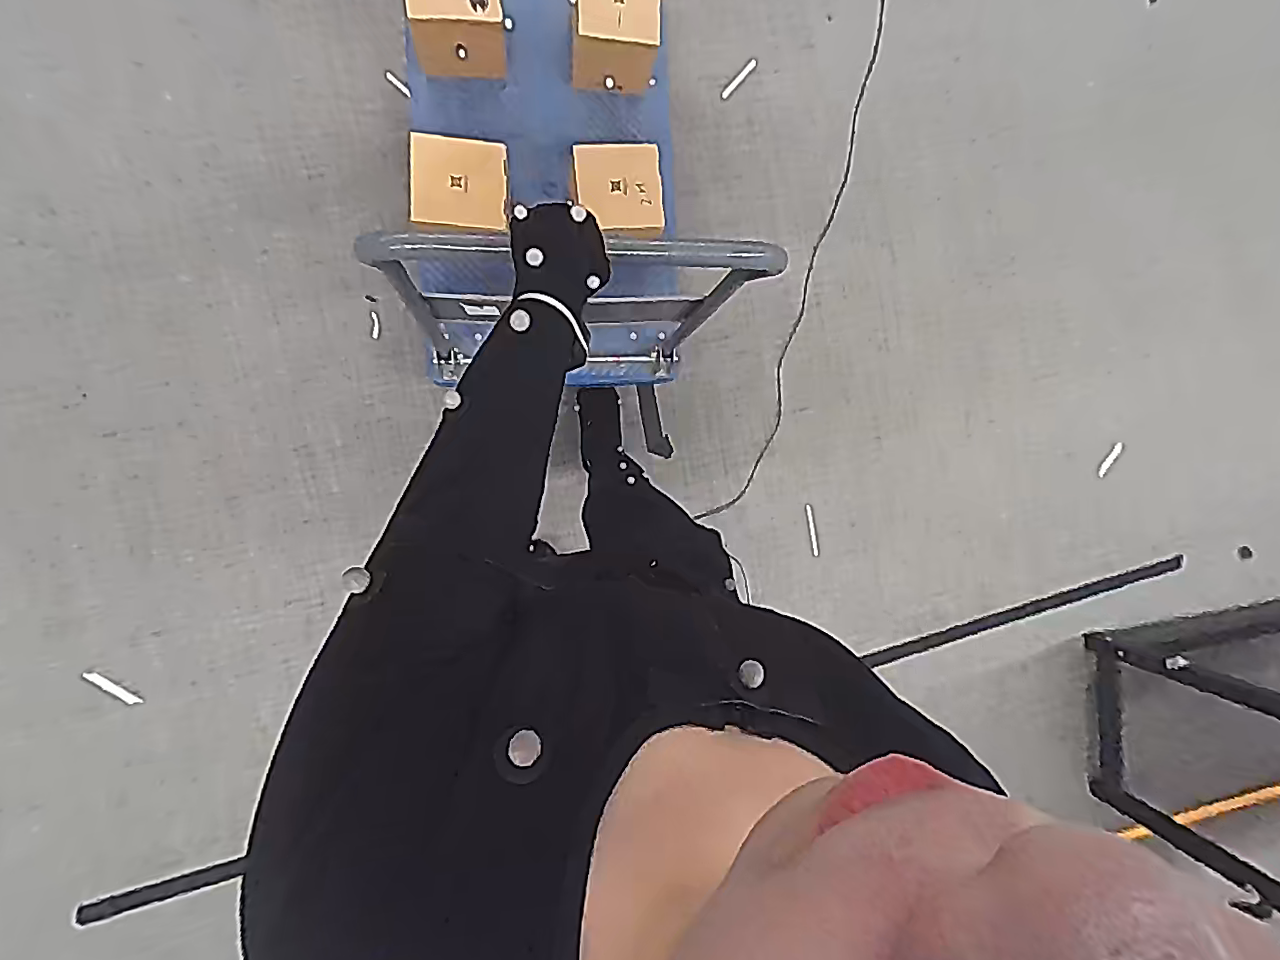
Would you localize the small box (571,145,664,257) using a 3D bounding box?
[{"bbox_3d":[-0.055,-0.591,1.163,0.179,0.176,0.168,-7,95,-10],"label":"small box"}]

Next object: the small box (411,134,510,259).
[{"bbox_3d":[-0.359,-0.567,1.106,0.179,0.176,0.168,0,93,-13],"label":"small box"}]

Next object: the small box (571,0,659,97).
[{"bbox_3d":[-0.057,-0.958,1.141,0.168,0.176,0.179,-2,95,-11],"label":"small box"}]
